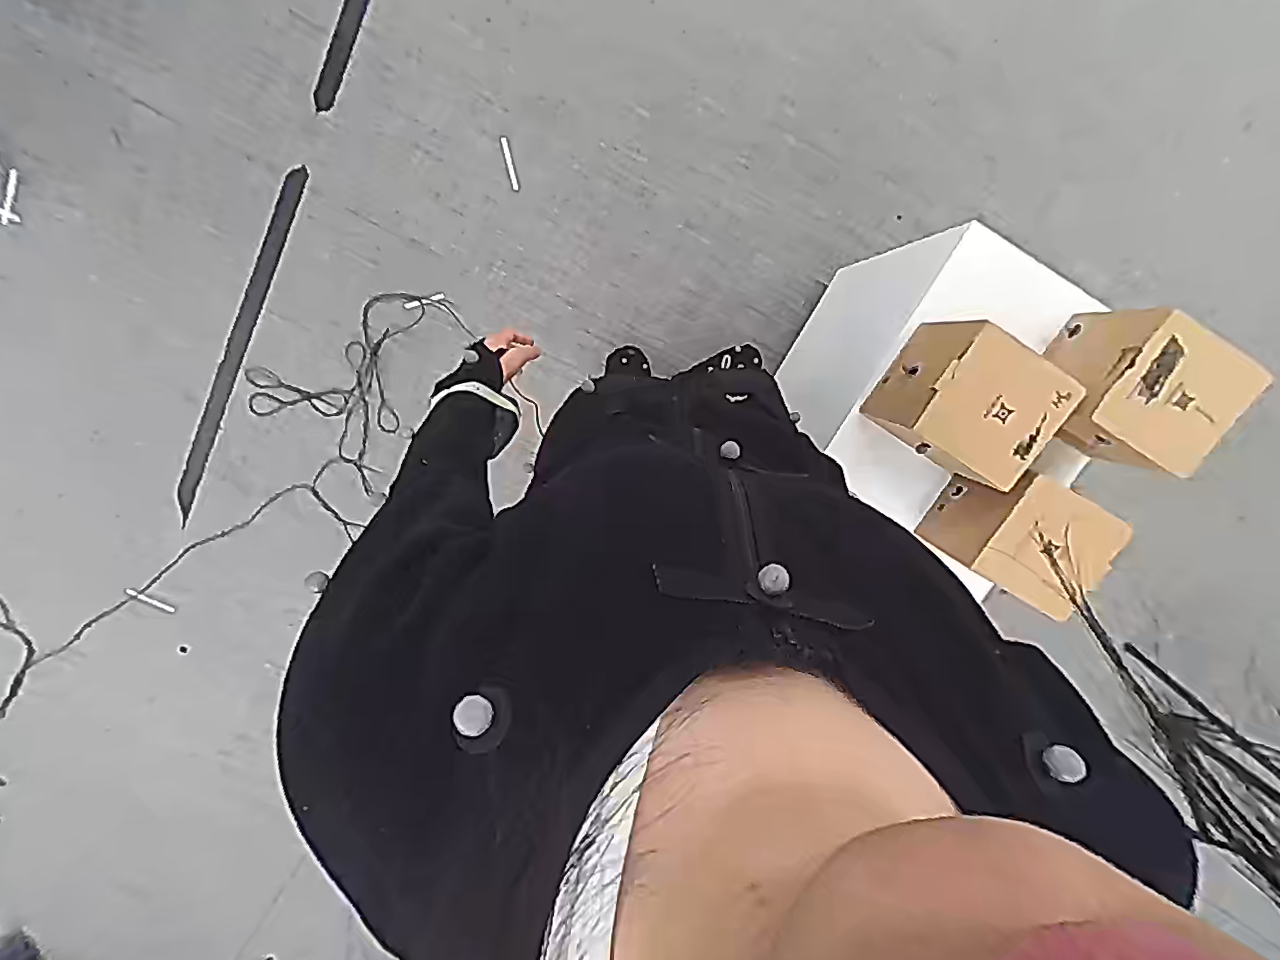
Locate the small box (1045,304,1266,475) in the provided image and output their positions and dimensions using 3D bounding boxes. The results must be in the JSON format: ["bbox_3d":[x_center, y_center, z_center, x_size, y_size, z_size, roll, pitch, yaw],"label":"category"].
[{"bbox_3d":[0.703,-0.133,0.788,0.179,0.176,0.168,30,103,-8],"label":"small box"}]

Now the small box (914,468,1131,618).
[{"bbox_3d":[0.578,0.077,0.843,0.179,0.176,0.168,28,101,-6],"label":"small box"}]

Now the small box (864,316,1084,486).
[{"bbox_3d":[0.468,-0.118,0.790,0.179,0.176,0.168,31,102,-8],"label":"small box"}]
